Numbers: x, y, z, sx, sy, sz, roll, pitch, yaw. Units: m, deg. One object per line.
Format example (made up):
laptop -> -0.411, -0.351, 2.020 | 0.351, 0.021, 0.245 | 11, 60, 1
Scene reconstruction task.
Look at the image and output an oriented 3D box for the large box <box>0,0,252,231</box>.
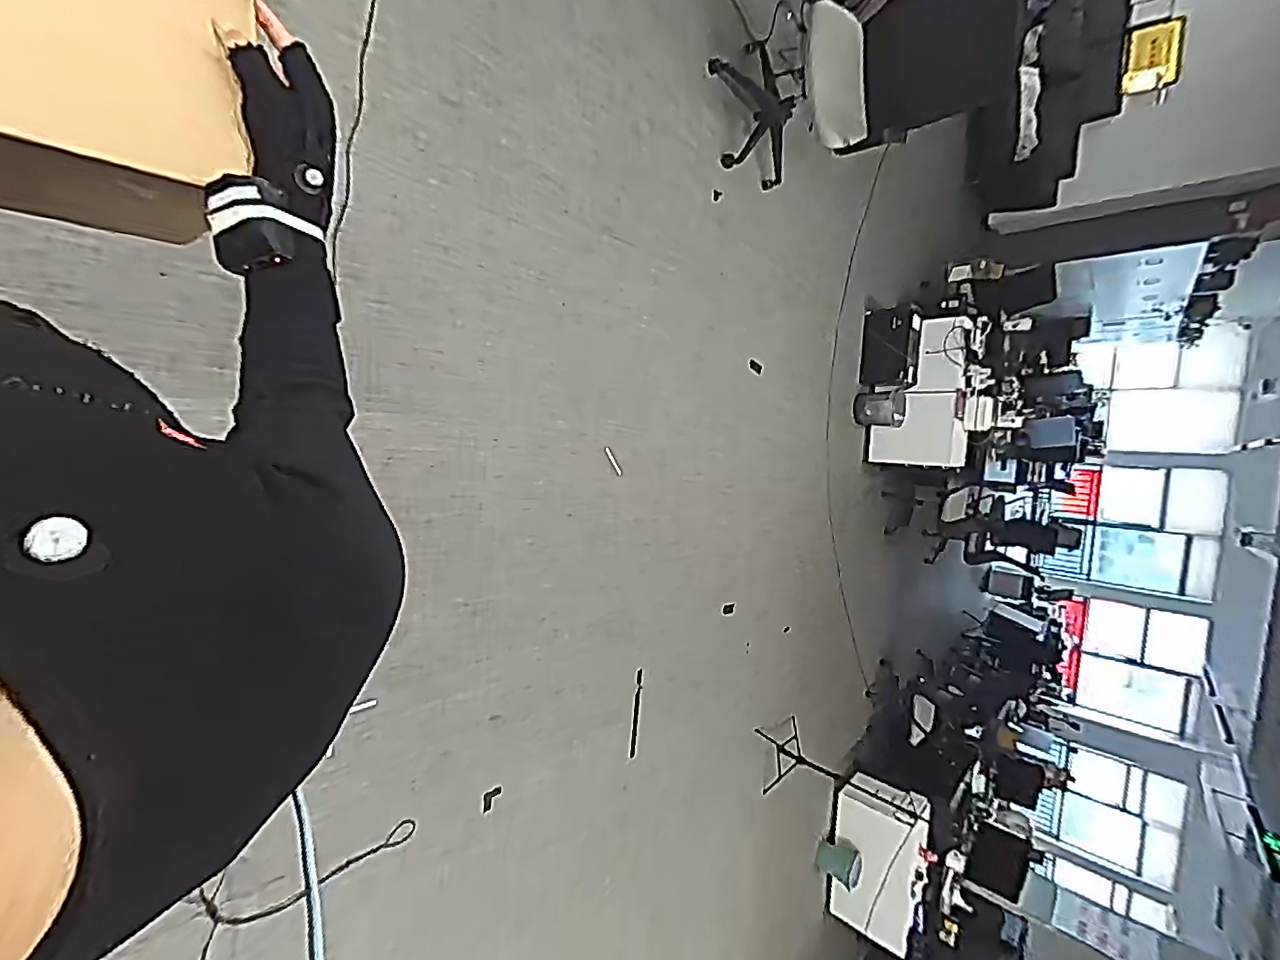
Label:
large box -> -0.567, -0.408, 0.387 | 0.408, 0.320, 0.320 | -6, 105, -49
